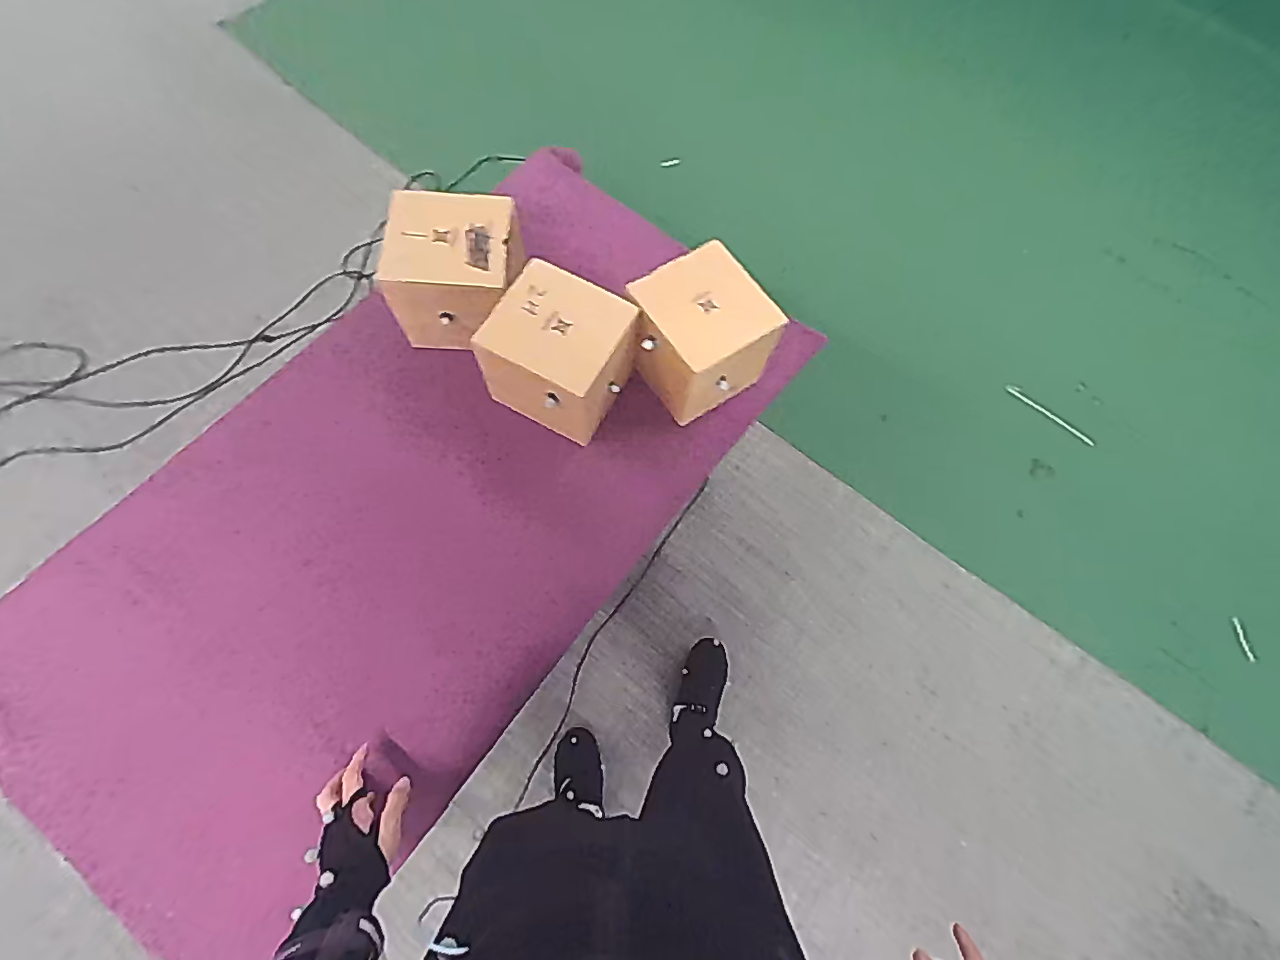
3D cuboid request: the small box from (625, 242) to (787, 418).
[{"bbox_3d":[0.091,-0.218,0.835,0.168,0.176,0.179,-32,74,-13],"label":"small box"}]
